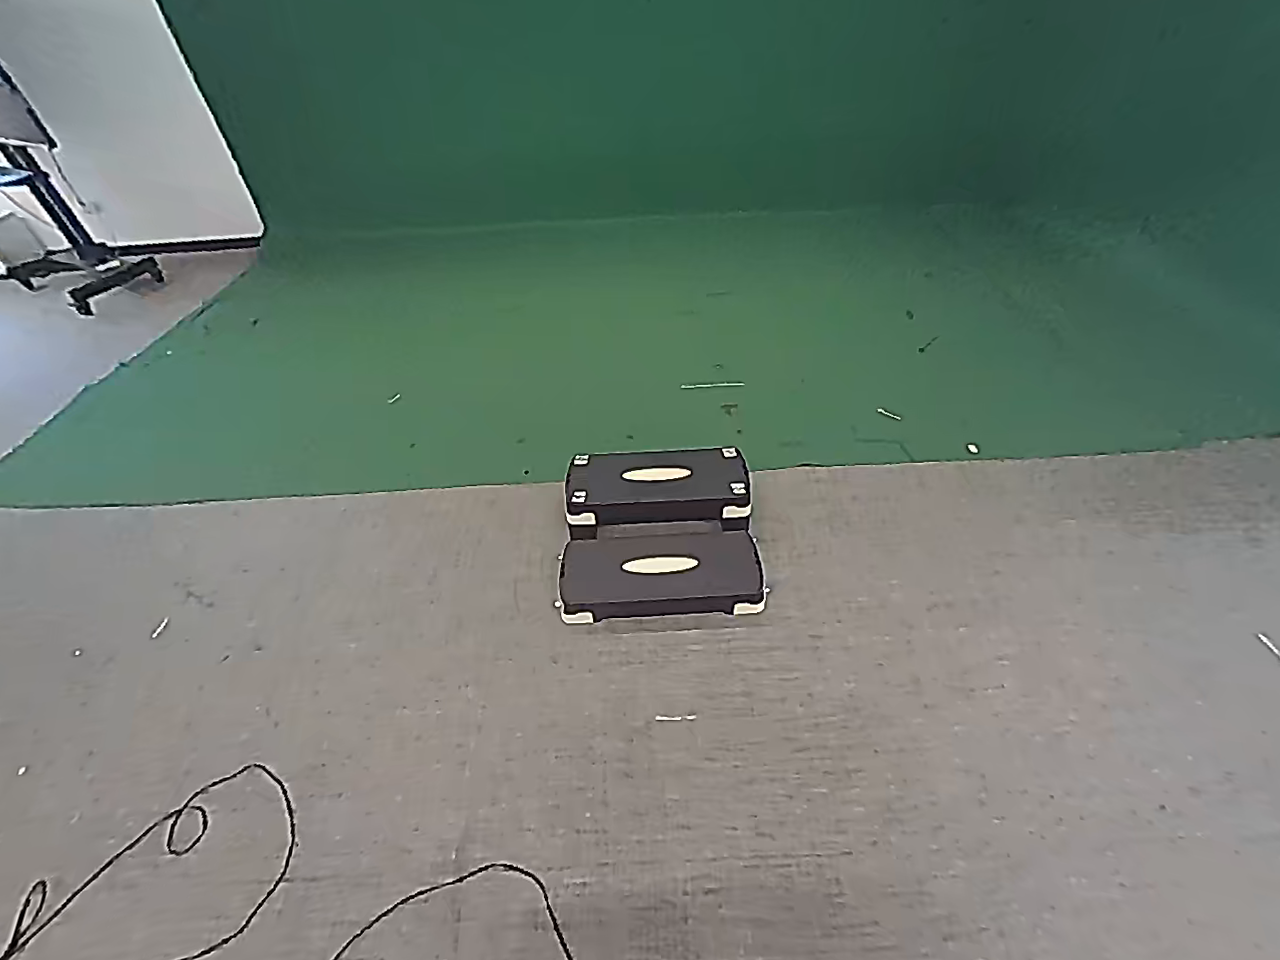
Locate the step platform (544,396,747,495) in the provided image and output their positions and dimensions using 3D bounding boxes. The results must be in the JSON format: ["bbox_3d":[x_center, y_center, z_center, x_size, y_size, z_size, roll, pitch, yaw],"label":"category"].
[{"bbox_3d":[0.020,-0.122,1.903,0.684,0.204,0.286,-4,43,1],"label":"step platform"}]
